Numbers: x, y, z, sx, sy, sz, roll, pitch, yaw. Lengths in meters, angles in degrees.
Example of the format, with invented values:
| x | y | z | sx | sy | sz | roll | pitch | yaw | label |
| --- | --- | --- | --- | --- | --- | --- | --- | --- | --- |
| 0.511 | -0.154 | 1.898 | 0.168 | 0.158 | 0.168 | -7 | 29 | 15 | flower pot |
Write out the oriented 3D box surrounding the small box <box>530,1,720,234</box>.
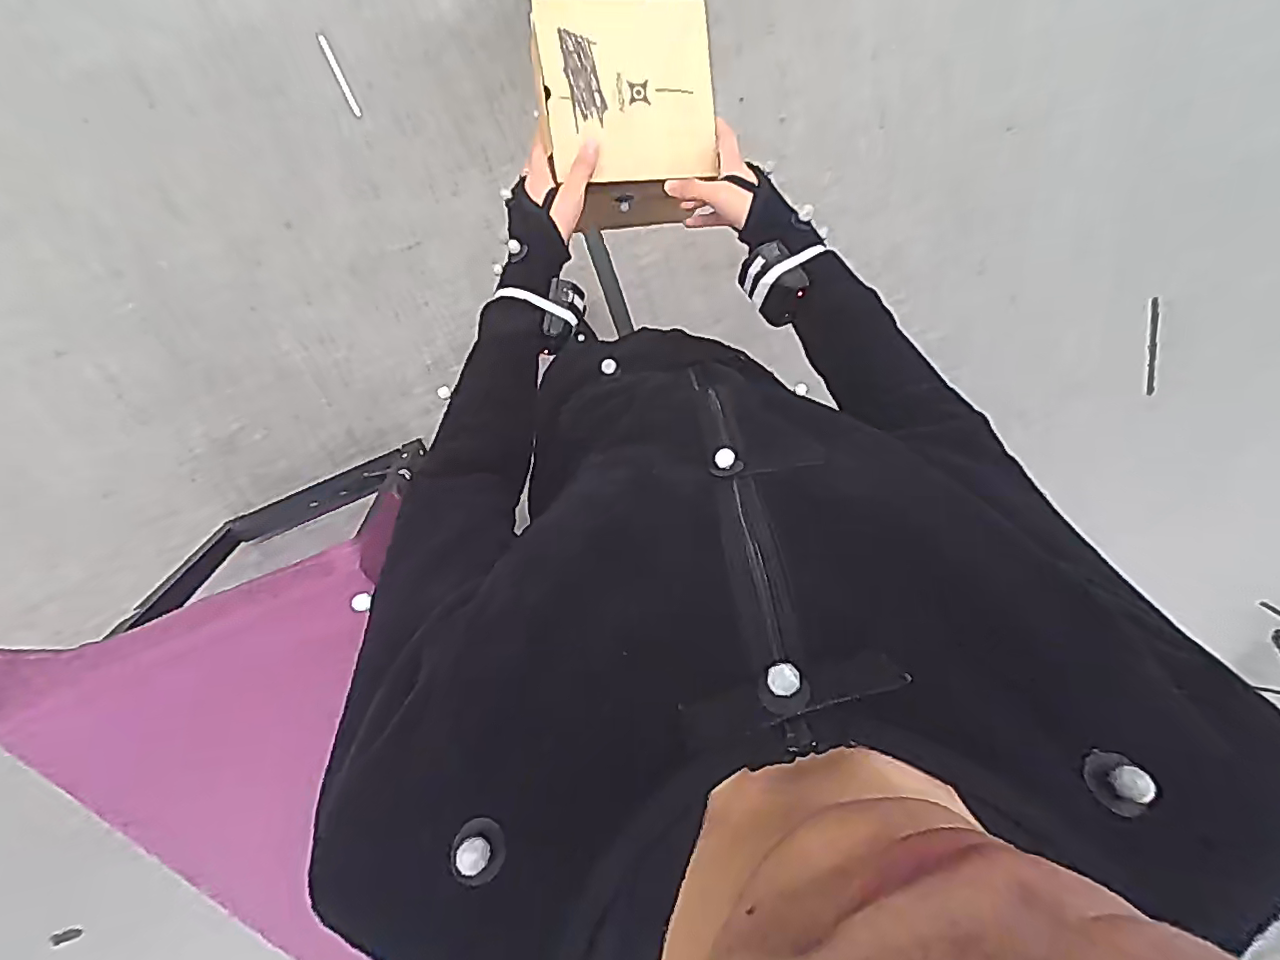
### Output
| x | y | z | sx | sy | sz | roll | pitch | yaw | label |
| --- | --- | --- | --- | --- | --- | --- | --- | --- | --- |
| -0.020 | -0.395 | 0.620 | 0.179 | 0.176 | 0.168 | -9 | 101 | -5 | small box |
